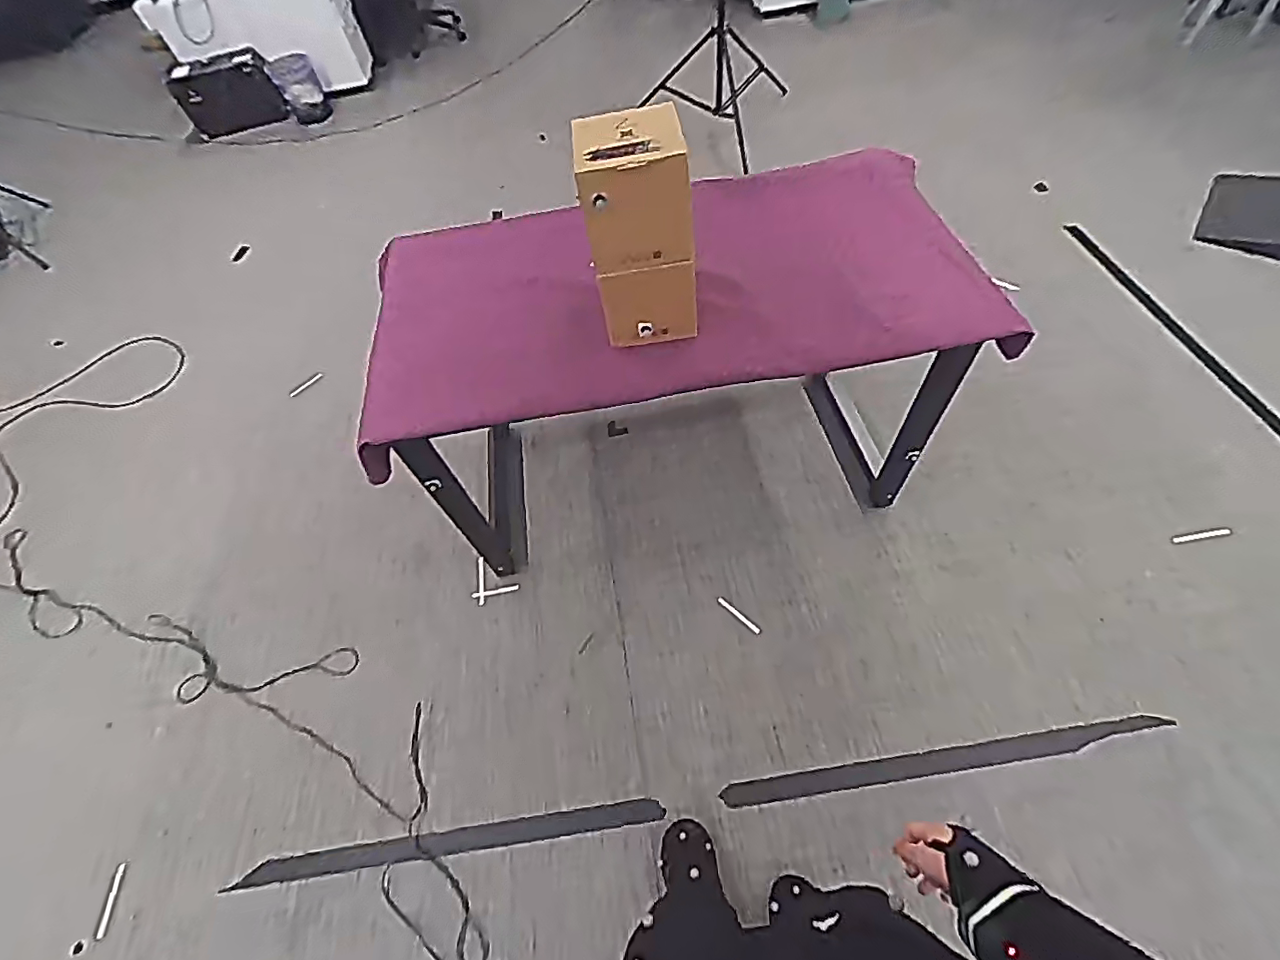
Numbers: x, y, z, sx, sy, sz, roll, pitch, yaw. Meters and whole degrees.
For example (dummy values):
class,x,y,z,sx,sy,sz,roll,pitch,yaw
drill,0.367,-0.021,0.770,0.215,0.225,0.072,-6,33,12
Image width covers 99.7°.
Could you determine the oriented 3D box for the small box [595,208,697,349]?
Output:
class,x,y,z,sx,sy,sz,roll,pitch,yaw
small box,0.012,-0.374,1.013,0.168,0.176,0.179,-9,57,2
